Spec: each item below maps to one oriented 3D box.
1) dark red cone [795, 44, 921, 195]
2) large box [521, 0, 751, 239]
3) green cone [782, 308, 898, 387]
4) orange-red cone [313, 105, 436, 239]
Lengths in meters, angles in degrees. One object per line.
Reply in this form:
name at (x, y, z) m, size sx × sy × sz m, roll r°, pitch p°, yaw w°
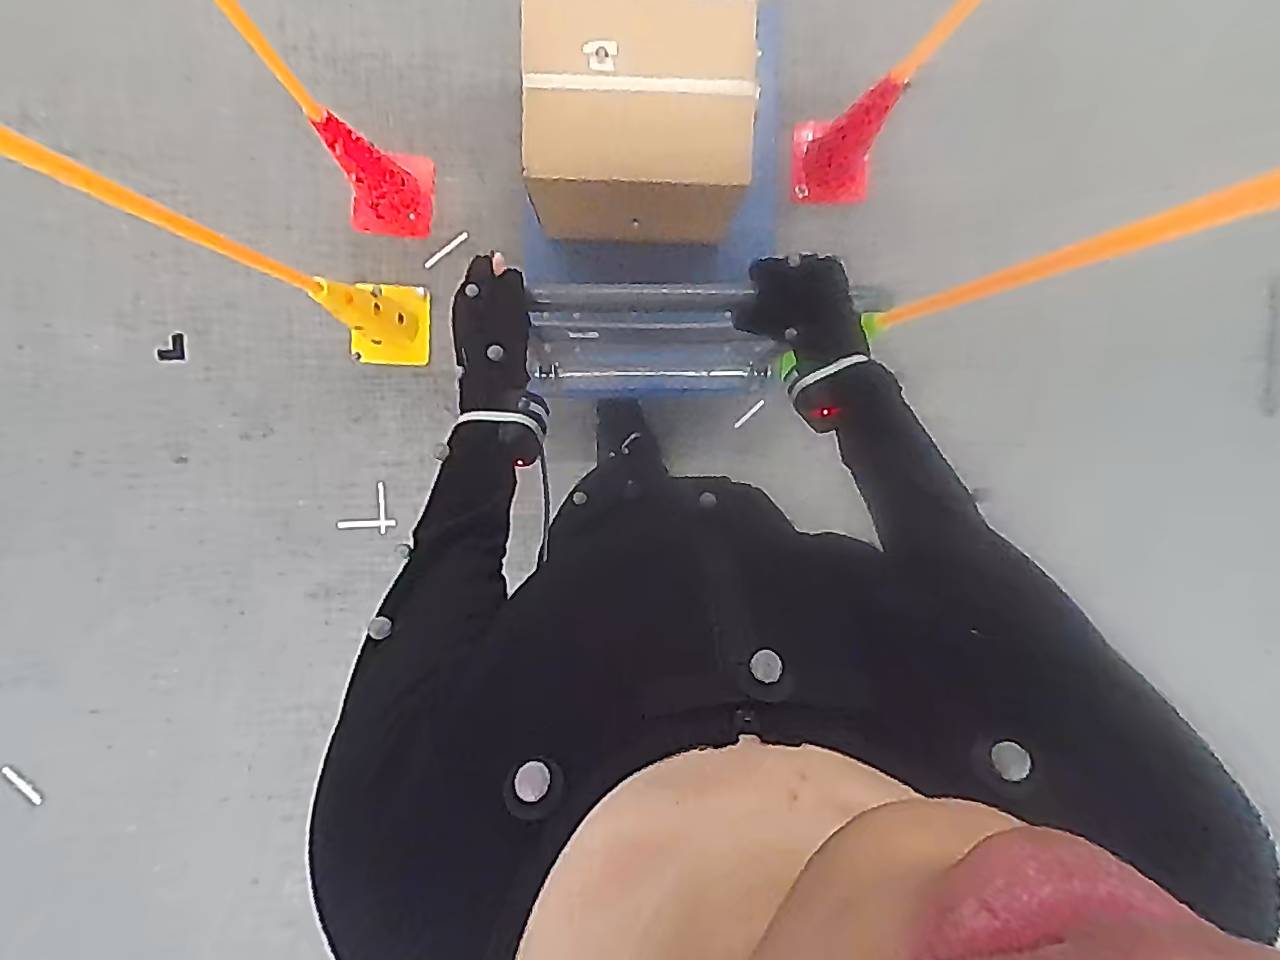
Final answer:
dark red cone at (0.506, -0.822, 1.221) m, size 0.201 × 0.394 × 0.202 m, roll -1°, pitch 95°, yaw -3°
large box at (-0.008, -0.695, 1.090) m, size 0.408 × 0.320 × 0.320 m, roll 1°, pitch 96°, yaw -1°
green cone at (0.491, -0.340, 1.276) m, size 0.202 × 0.368 × 0.200 m, roll 3°, pitch 94°, yaw -3°
orange-red cone at (-0.623, -0.719, 1.217) m, size 0.198 × 0.360 × 0.199 m, roll 6°, pitch 93°, yaw -3°
